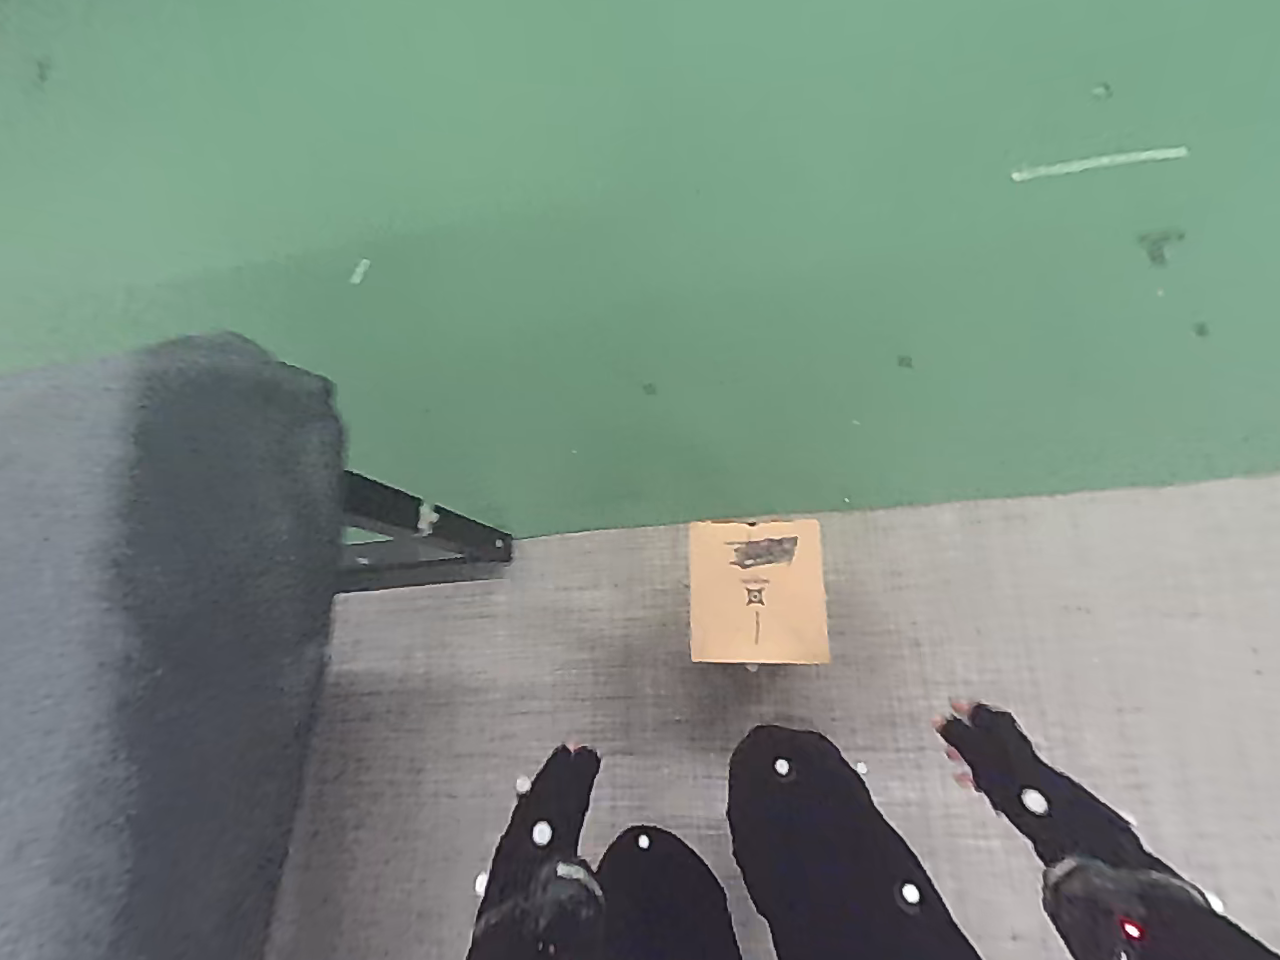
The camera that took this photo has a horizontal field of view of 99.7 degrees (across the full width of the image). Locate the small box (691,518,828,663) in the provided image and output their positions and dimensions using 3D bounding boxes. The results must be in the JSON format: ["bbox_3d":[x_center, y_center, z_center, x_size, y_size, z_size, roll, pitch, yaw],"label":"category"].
[{"bbox_3d":[0.159,0.155,0.749,0.168,0.176,0.179,-2,75,11],"label":"small box"}]
